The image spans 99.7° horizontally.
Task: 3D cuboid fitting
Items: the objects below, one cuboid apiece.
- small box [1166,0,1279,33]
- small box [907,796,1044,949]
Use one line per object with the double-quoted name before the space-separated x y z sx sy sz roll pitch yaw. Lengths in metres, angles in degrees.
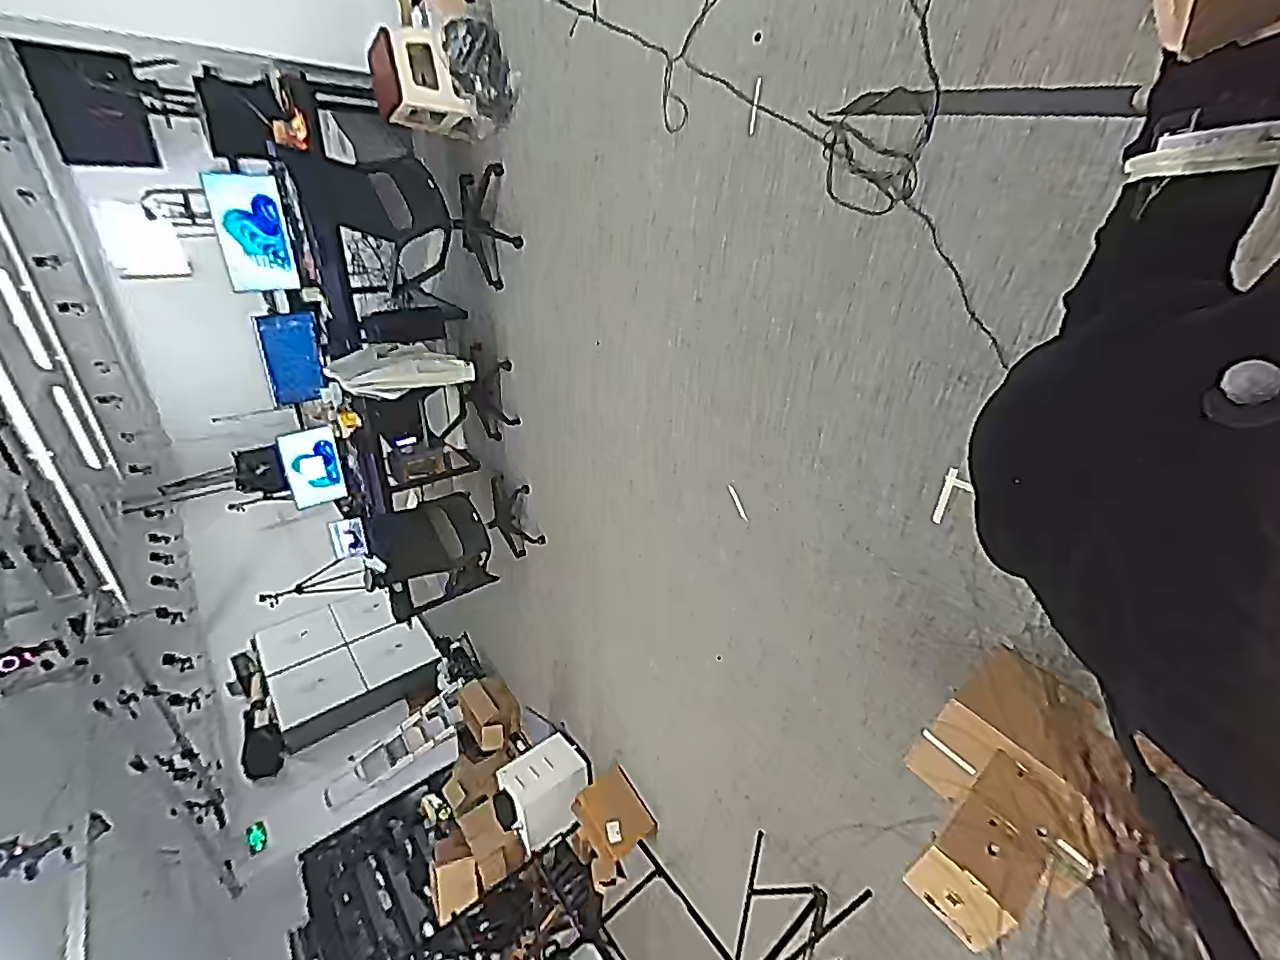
"small box" 0.295 -0.305 0.191 0.168 0.176 0.179 -8 104 45
"small box" 0.706 0.813 1.135 0.168 0.176 0.179 38 133 37
